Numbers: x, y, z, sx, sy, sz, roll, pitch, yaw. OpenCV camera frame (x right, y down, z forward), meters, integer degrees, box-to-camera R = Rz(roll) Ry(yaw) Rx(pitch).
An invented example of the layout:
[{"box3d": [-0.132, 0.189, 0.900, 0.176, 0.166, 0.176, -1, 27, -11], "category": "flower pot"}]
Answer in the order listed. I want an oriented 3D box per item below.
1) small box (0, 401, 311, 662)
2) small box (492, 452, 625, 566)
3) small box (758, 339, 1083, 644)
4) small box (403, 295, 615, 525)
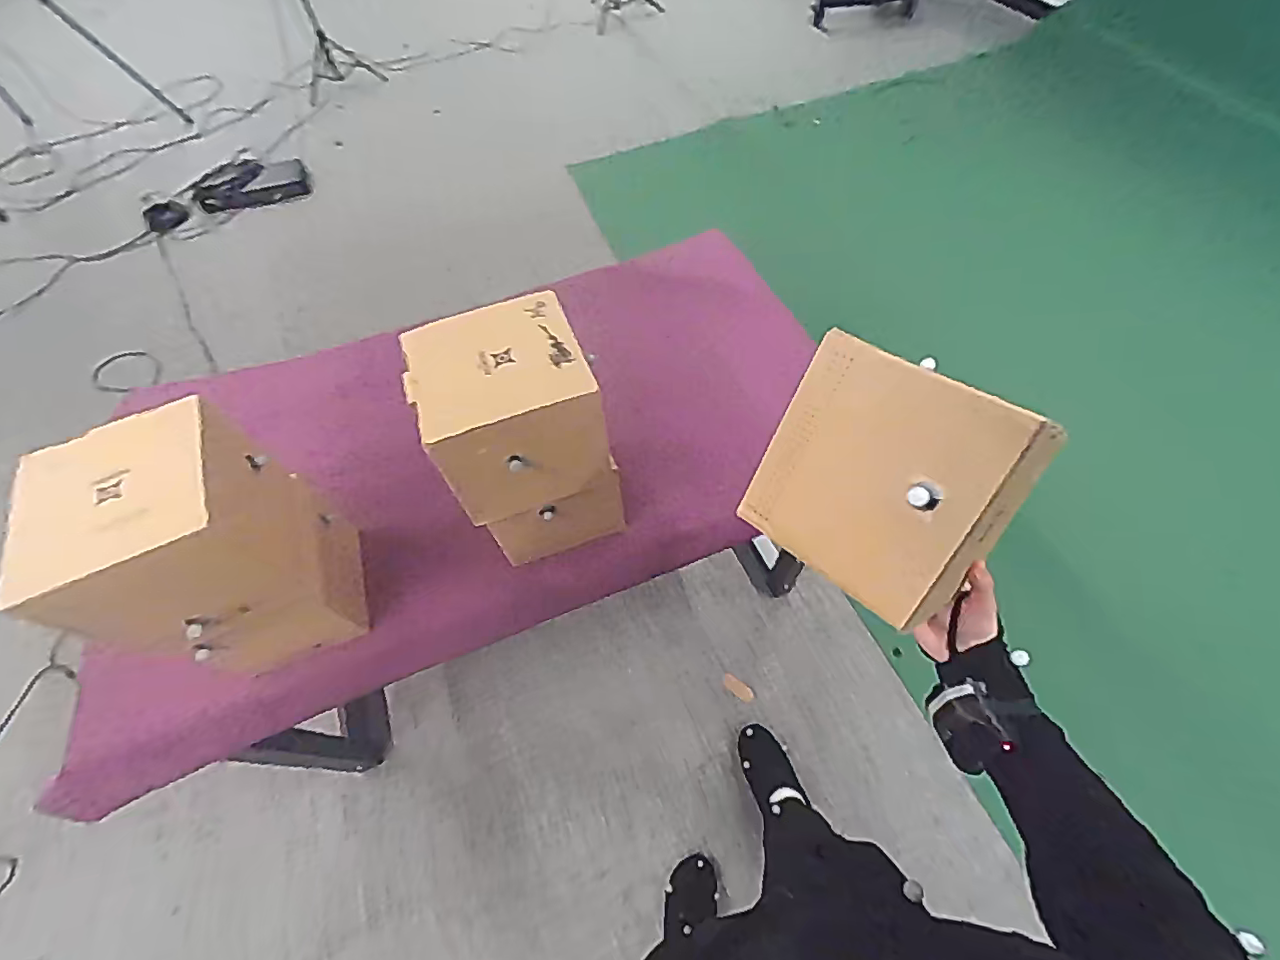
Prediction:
[{"box3d": [-0.473, 0.057, 0.555, 0.168, 0.176, 0.179, -24, 60, -11], "category": "small box"}, {"box3d": [-0.130, 0.000, 0.767, 0.179, 0.176, 0.168, -18, 59, -9], "category": "small box"}, {"box3d": [0.227, 0.004, 0.462, 0.168, 0.179, 0.176, 0, 30, -49], "category": "small box"}, {"box3d": [-0.141, -0.073, 0.619, 0.179, 0.176, 0.168, -20, 59, -8], "category": "small box"}]
